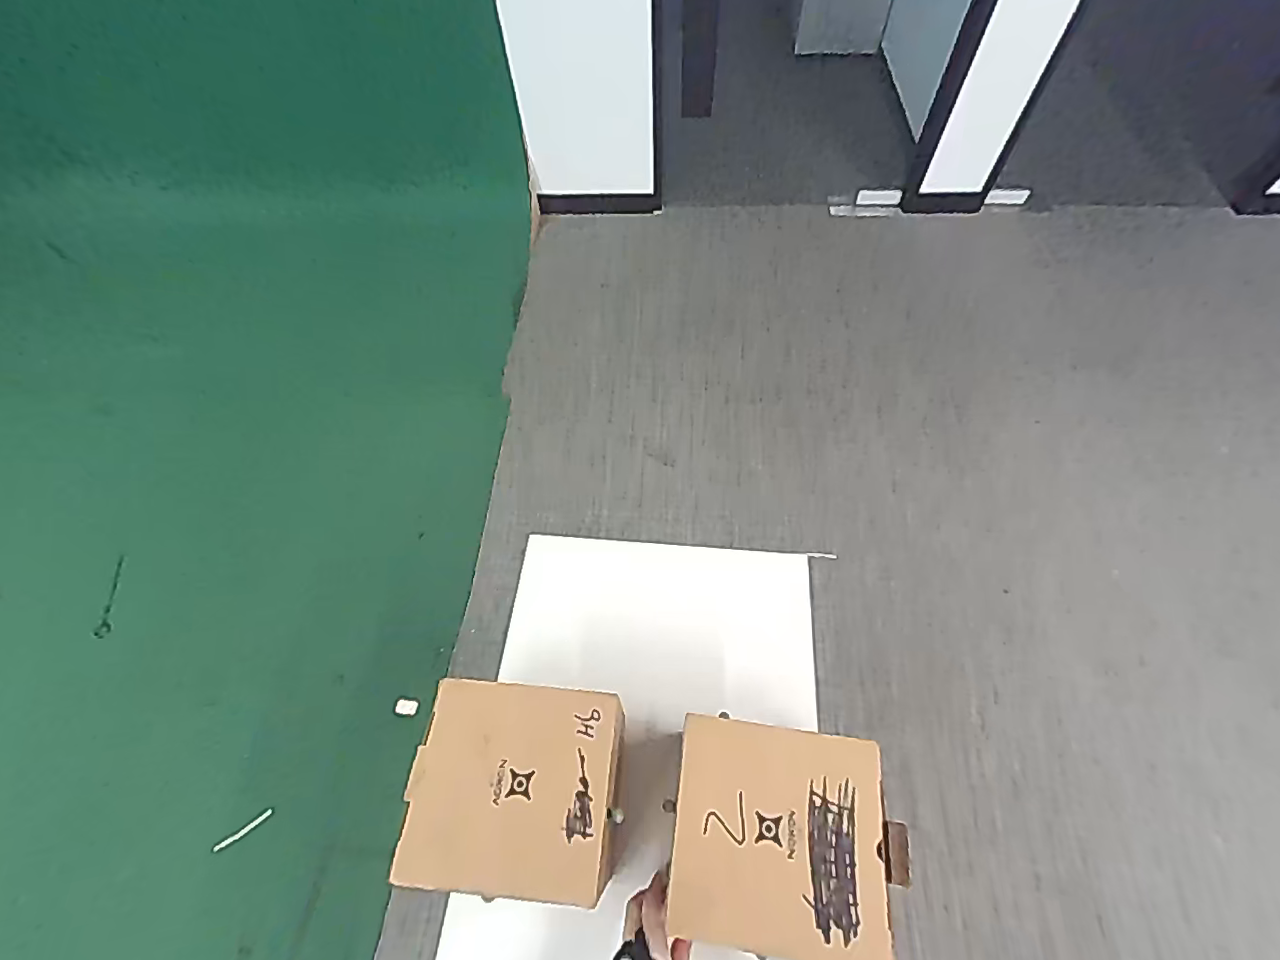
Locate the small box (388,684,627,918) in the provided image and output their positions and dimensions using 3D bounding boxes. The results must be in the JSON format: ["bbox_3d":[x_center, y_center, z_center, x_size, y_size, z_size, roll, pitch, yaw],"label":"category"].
[{"bbox_3d":[-0.112,0.316,0.547,0.179,0.176,0.168,4,59,4],"label":"small box"}]
